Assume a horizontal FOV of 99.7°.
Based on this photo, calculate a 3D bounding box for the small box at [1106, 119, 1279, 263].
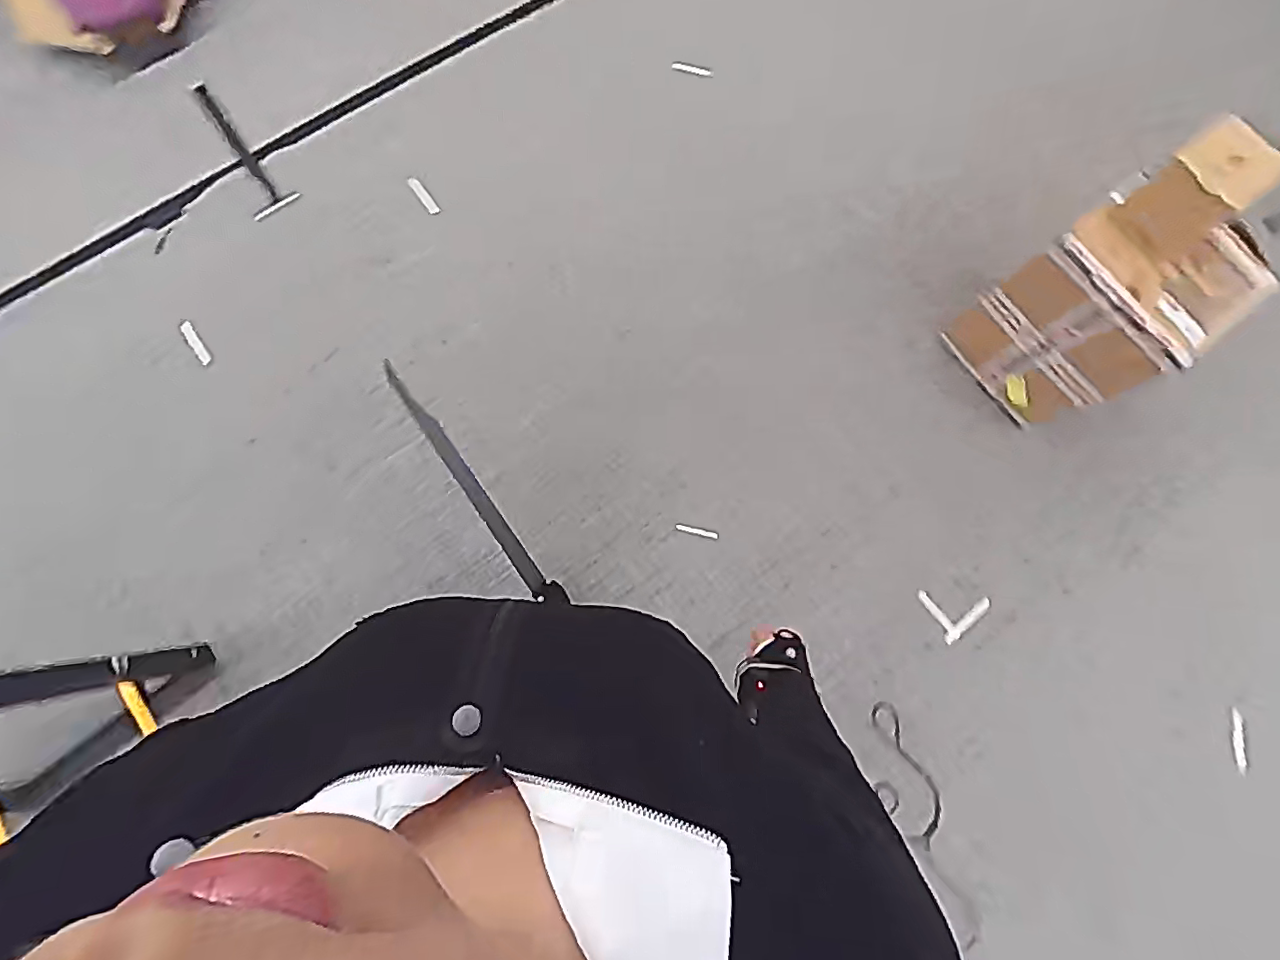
[{"bbox_3d":[1.177,-0.612,1.163,0.179,0.176,0.168,-35,80,-7],"label":"small box"}]
